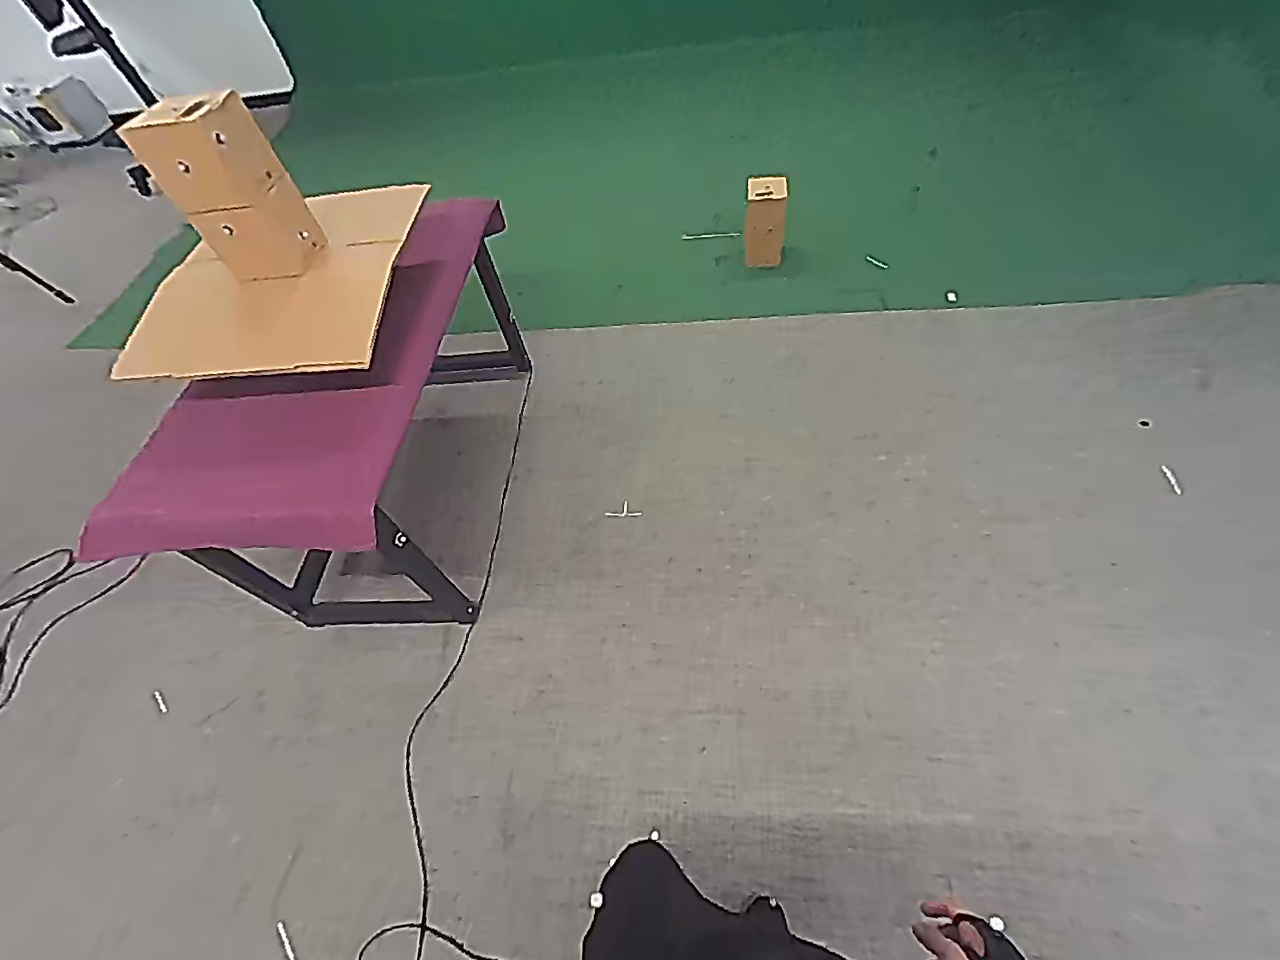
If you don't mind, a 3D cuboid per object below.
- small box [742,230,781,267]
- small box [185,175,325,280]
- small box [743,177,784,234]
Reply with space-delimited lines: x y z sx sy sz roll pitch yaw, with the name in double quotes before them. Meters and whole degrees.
"small box" 0.568 -1.128 2.548 0.168 0.176 0.179 1 56 8
"small box" -0.900 -0.593 1.282 0.179 0.176 0.168 -2 53 6
"small box" 0.549 -1.221 2.414 0.168 0.176 0.179 2 56 8
